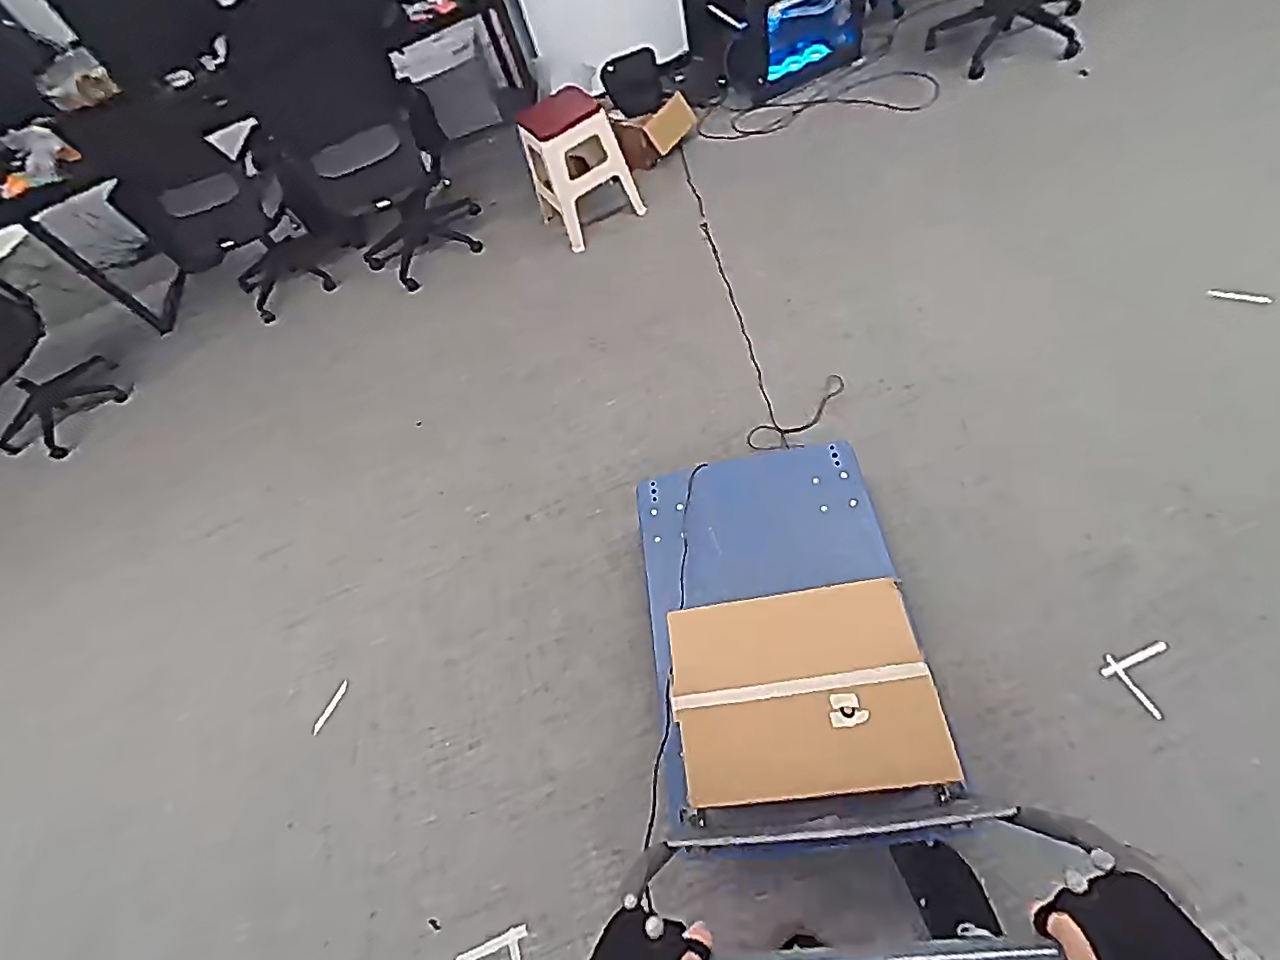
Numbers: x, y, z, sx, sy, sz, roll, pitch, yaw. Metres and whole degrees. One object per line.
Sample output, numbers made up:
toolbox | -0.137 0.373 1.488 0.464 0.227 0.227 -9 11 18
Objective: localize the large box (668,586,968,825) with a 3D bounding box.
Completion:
large box | 0.286 0.420 0.986 0.408 0.320 0.320 -11 60 8
